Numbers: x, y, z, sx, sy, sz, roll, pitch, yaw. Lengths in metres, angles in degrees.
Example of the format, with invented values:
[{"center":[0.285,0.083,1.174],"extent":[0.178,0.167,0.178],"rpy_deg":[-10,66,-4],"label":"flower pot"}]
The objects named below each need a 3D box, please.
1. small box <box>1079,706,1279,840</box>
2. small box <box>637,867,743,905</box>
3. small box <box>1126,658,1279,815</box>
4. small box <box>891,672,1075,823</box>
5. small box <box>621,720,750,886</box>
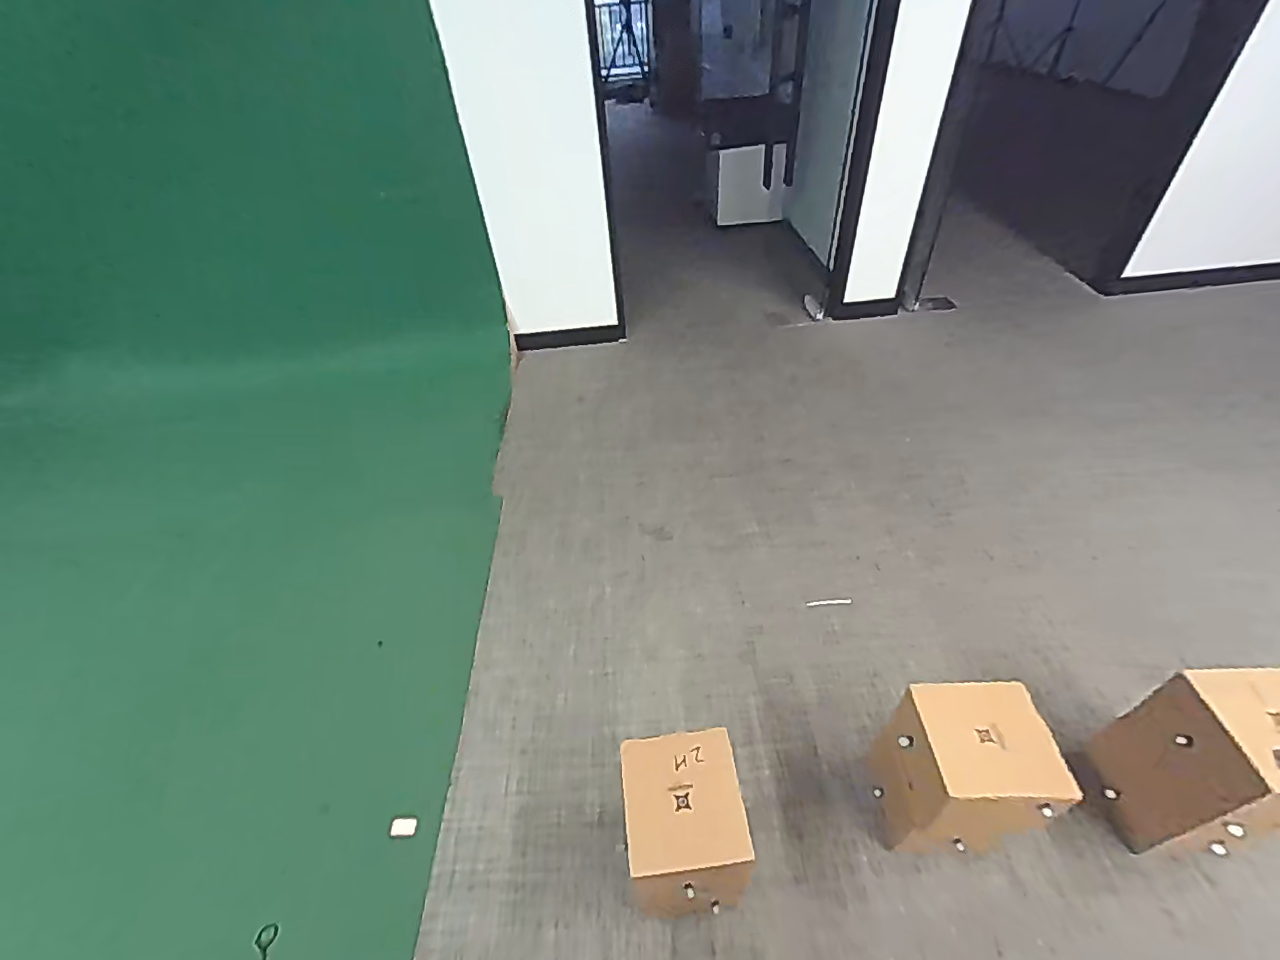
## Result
[{"center":[0.930,0.510,0.941],"extent":[0.168,0.176,0.179],"rpy_deg":[-3,44,2],"label":"small box"},{"center":[0.079,0.609,0.932],"extent":[0.168,0.176,0.179],"rpy_deg":[-6,42,-1],"label":"small box"},{"center":[0.915,0.393,0.825],"extent":[0.168,0.176,0.179],"rpy_deg":[-3,42,3],"label":"small box"},{"center":[0.511,0.420,0.845],"extent":[0.179,0.176,0.168],"rpy_deg":[-3,43,4],"label":"small box"},{"center":[0.063,0.492,0.818],"extent":[0.168,0.176,0.179],"rpy_deg":[-5,43,-2],"label":"small box"}]
